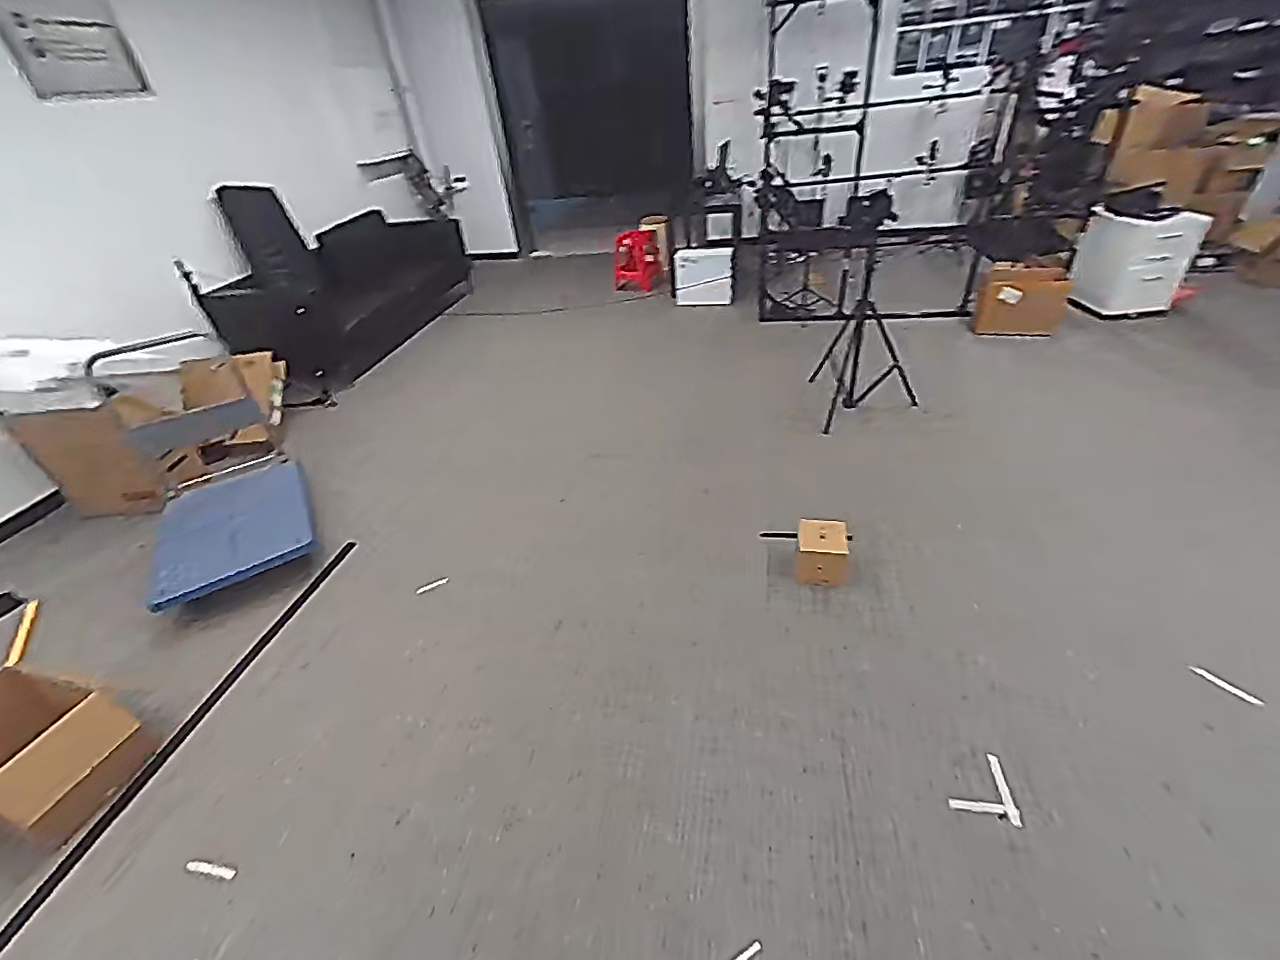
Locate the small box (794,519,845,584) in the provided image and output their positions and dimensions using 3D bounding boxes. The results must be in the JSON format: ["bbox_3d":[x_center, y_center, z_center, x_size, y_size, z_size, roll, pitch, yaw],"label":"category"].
[{"bbox_3d":[0.667,0.268,2.019,0.168,0.176,0.179,3,36,14],"label":"small box"}]
